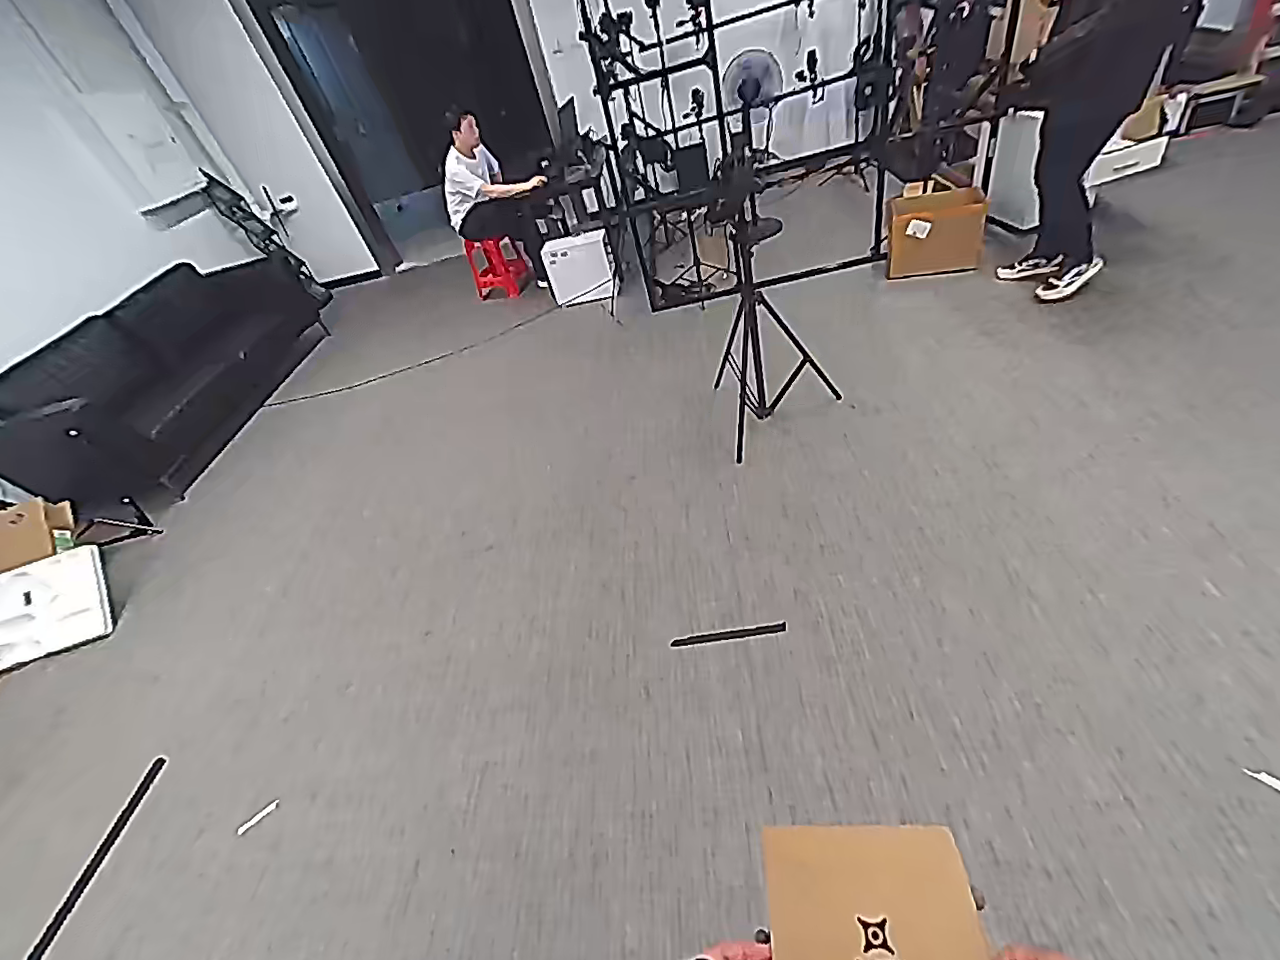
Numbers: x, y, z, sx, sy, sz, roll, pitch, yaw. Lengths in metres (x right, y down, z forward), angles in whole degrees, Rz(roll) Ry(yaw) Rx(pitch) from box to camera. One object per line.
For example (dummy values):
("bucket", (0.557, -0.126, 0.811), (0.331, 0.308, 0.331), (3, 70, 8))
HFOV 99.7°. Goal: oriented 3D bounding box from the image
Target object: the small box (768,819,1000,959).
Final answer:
("small box", (0.206, 0.422, 0.471), (0.168, 0.176, 0.179), (-8, 41, 11))
